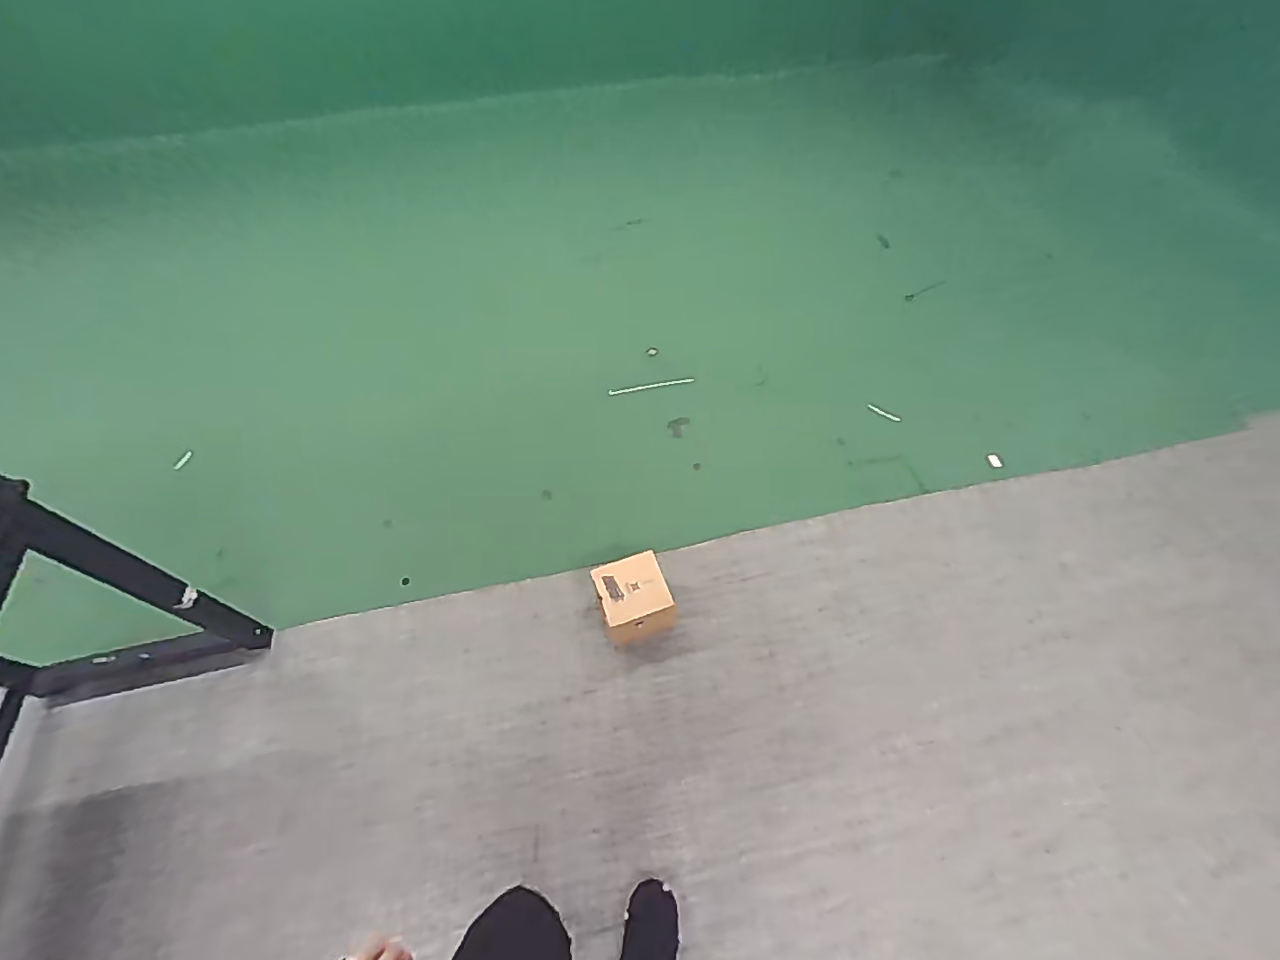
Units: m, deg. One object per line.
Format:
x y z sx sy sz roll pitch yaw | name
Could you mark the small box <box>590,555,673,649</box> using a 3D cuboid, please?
-0.021 0.327 1.429 0.179 0.176 0.168 -17 58 -10 | small box
